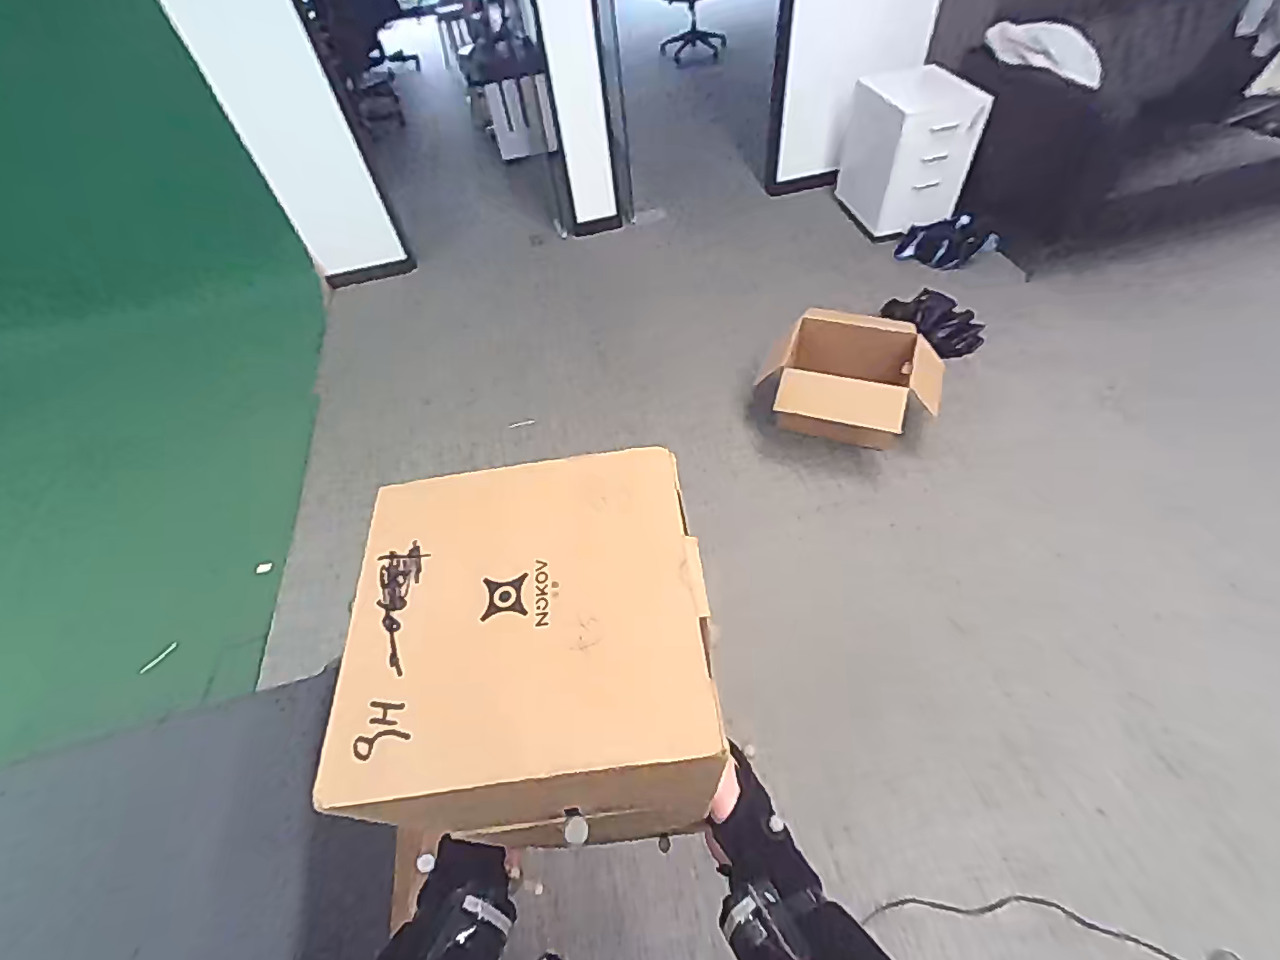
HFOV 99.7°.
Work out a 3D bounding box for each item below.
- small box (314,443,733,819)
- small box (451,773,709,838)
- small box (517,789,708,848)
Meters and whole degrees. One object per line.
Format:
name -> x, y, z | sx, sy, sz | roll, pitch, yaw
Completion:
small box -> -0.050, 0.099, 0.332 | 0.179, 0.176, 0.168 | -6, 53, 0
small box -> -0.041, 0.197, 0.463 | 0.179, 0.176, 0.168 | -7, 54, -1
small box -> -0.025, 0.295, 0.593 | 0.179, 0.176, 0.168 | -8, 53, 1
